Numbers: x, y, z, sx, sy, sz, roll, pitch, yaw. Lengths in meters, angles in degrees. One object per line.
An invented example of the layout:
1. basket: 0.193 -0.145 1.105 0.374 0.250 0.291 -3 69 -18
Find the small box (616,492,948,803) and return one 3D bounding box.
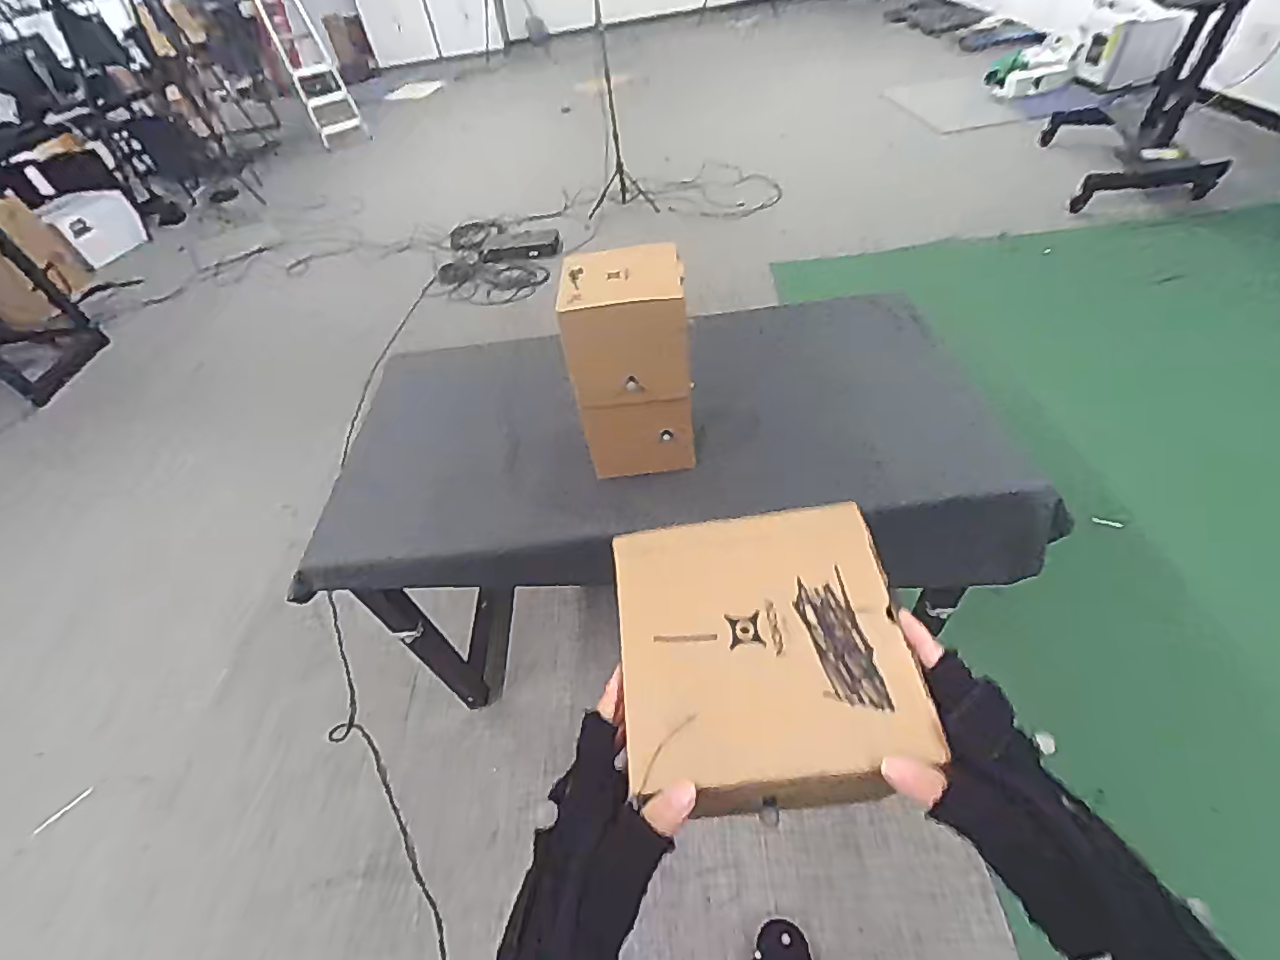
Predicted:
1. small box: 0.084 0.133 0.410 0.179 0.176 0.168 -10 54 -1

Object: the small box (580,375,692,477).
1. small box: -0.003 -0.125 0.954 0.179 0.176 0.168 -8 46 4

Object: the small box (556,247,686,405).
1. small box: -0.020 -0.233 0.831 0.179 0.176 0.168 -5 47 4
